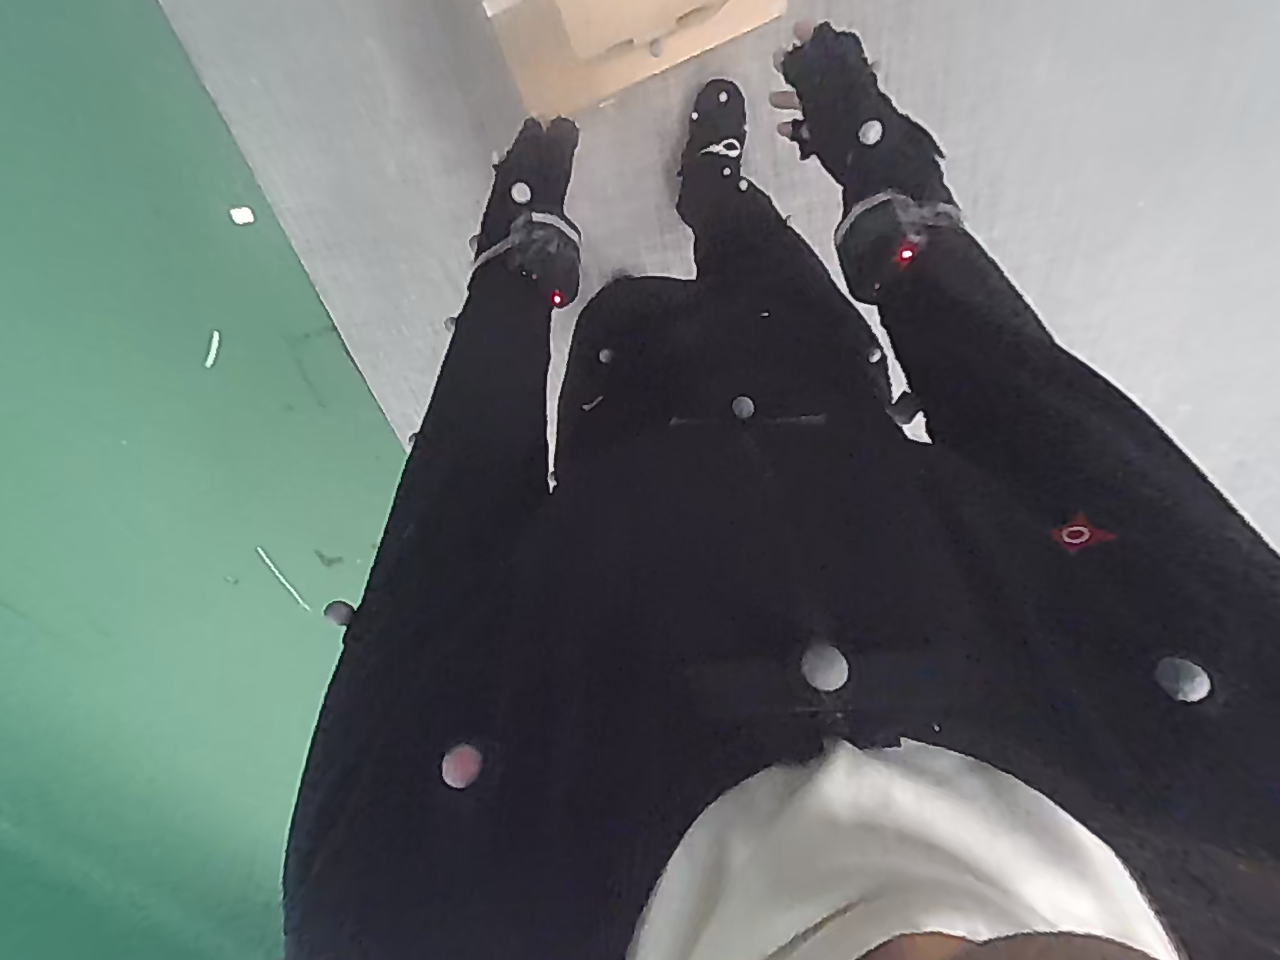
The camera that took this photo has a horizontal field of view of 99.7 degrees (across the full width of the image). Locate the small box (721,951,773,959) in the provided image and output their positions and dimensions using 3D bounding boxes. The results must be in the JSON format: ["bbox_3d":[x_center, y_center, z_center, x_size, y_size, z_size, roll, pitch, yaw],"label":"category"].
[{"bbox_3d":[0.359,1.666,1.756,0.179,0.176,0.168,-14,124,10],"label":"small box"}]
